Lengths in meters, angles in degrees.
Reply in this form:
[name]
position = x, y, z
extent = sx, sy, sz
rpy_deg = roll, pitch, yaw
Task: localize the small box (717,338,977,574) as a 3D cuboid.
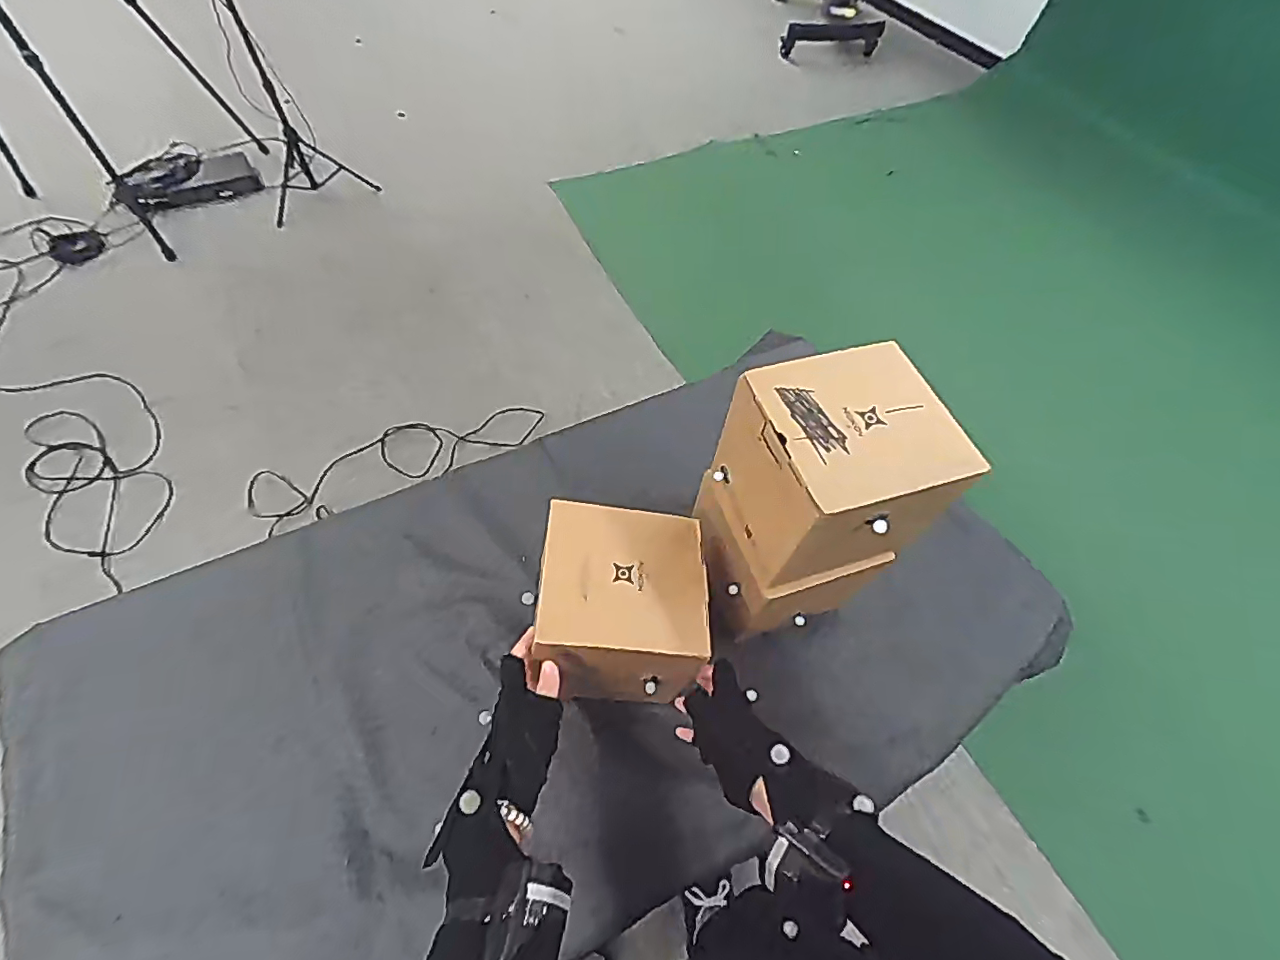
[small box]
position = 0.192, -0.018, 0.571
extent = 0.179, 0.176, 0.168
rpy_deg = -14, 62, -13
